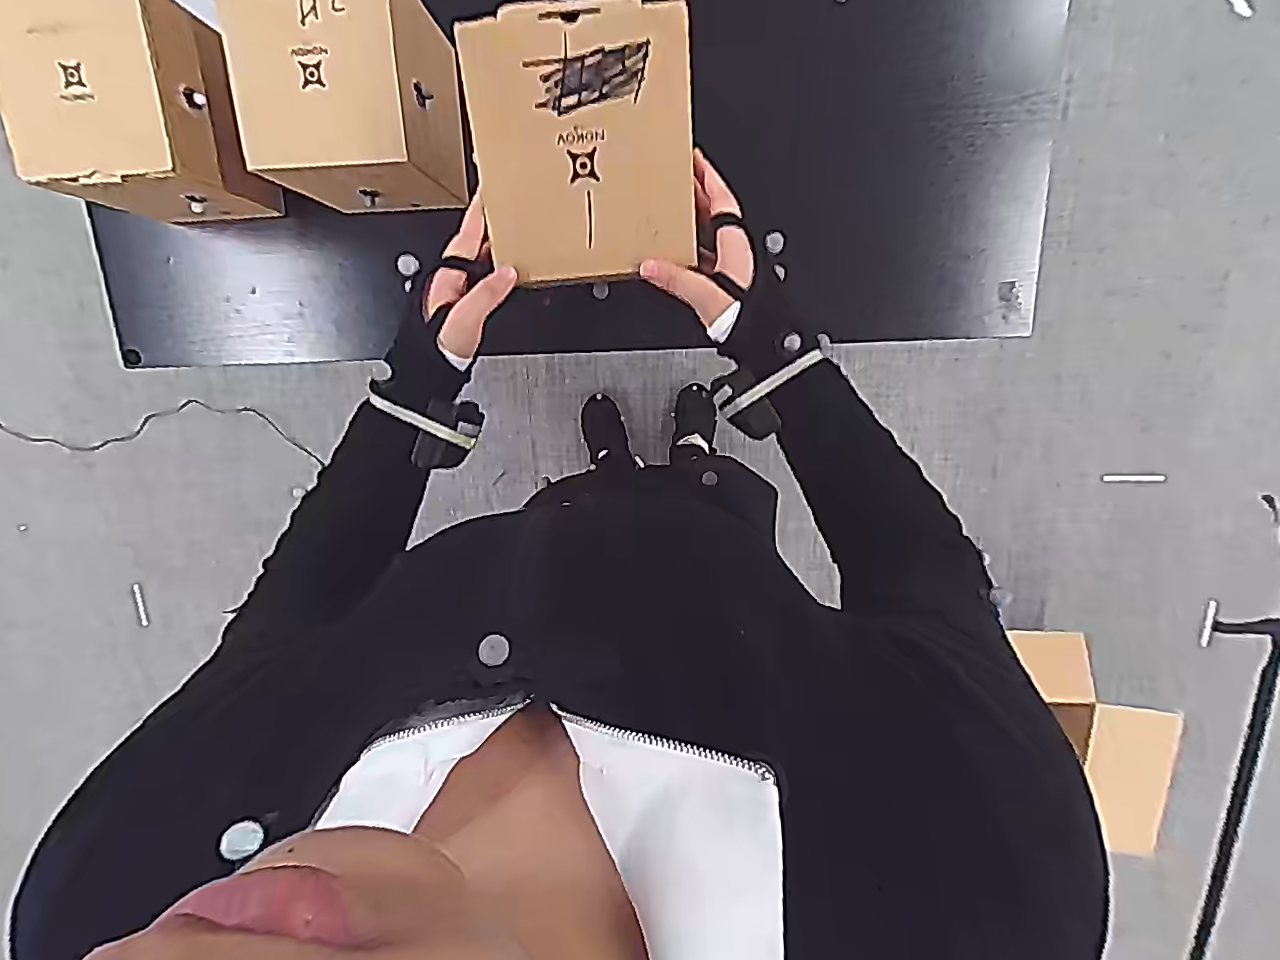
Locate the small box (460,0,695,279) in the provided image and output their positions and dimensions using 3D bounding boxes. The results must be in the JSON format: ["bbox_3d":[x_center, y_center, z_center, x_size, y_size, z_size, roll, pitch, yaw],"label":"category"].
[{"bbox_3d":[-0.042,-0.279,0.482,0.168,0.176,0.179,-4,110,2],"label":"small box"}]

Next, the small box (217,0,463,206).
[{"bbox_3d":[-0.303,-0.407,0.585,0.168,0.176,0.179,-1,103,2],"label":"small box"}]

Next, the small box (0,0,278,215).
[{"bbox_3d":[-0.542,-0.405,0.599,0.168,0.176,0.179,-2,102,2],"label":"small box"}]
